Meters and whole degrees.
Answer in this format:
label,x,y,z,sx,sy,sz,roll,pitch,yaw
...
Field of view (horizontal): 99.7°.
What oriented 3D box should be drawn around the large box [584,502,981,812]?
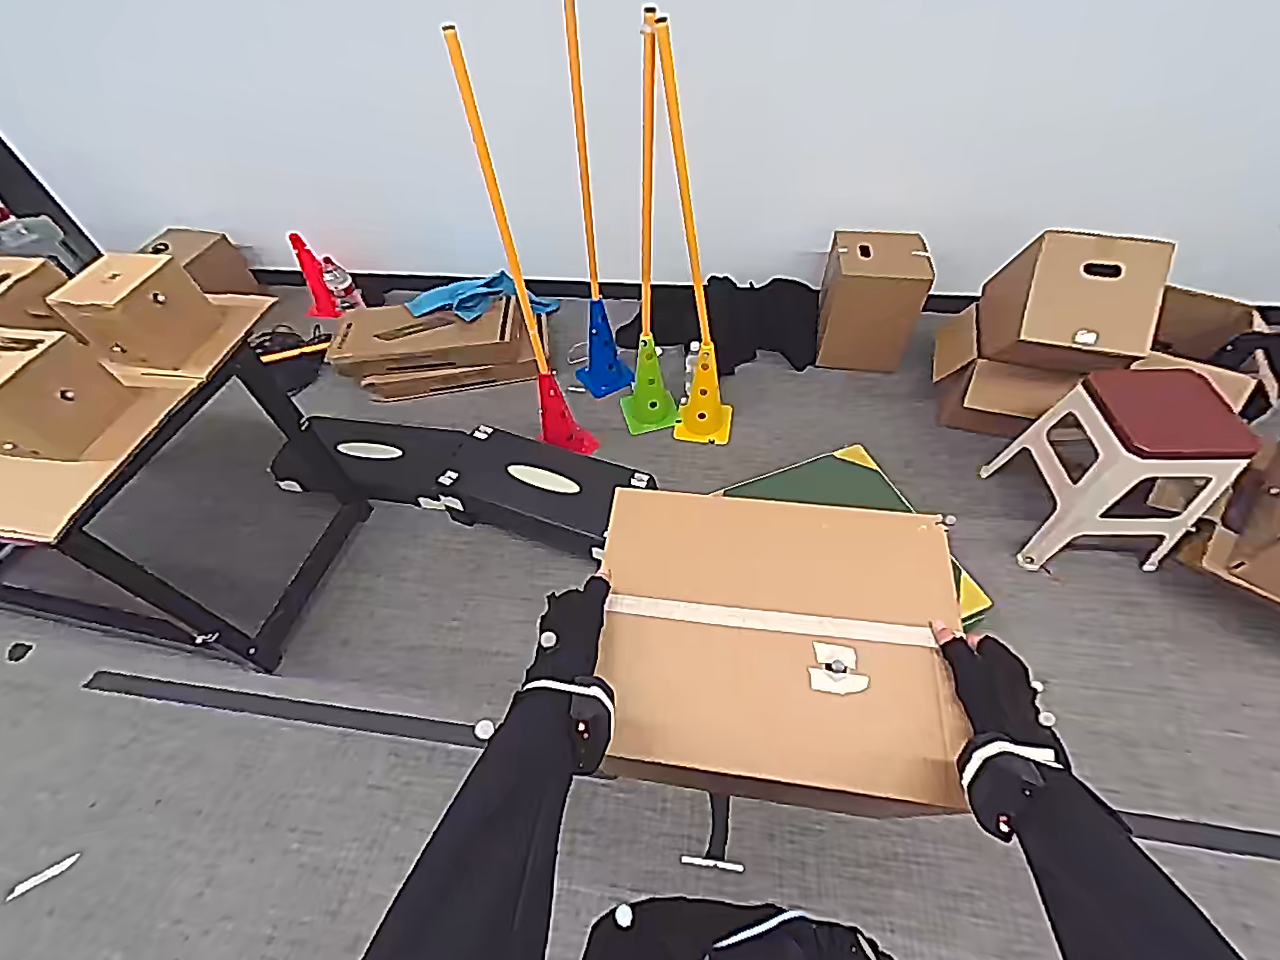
label,x,y,z,sx,sy,sz,roll,pitch,yaw
large box,0.159,0.251,0.746,0.408,0.320,0.320,5,59,7
